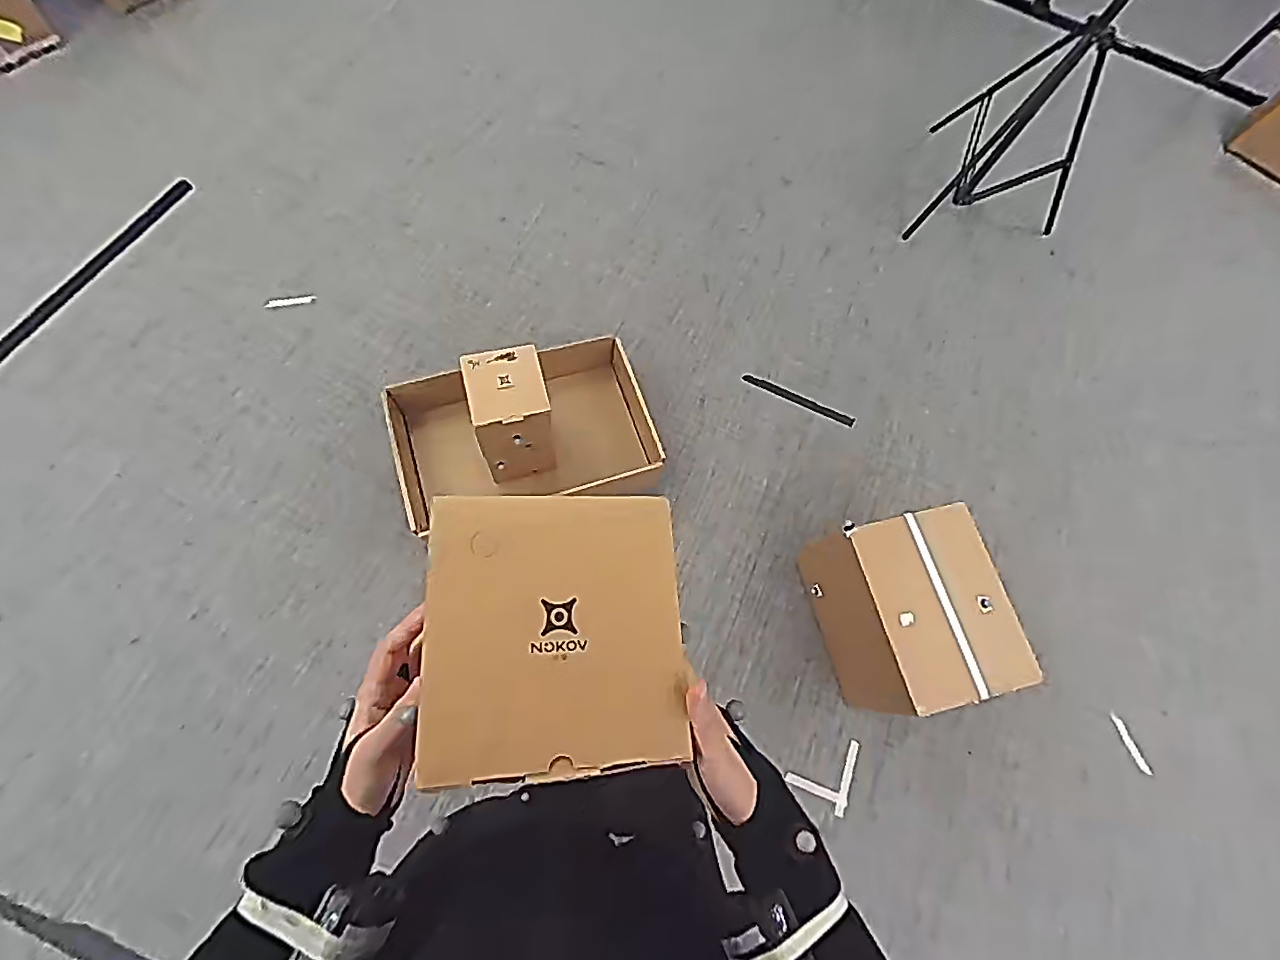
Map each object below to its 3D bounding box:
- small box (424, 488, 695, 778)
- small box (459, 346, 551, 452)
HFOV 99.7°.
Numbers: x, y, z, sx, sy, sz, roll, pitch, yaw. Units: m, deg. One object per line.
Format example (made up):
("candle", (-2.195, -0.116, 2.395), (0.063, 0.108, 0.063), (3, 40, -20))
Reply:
("small box", (-0.068, 0.115, 0.424), (0.168, 0.176, 0.179), (0, 71, -14))
("small box", (-0.300, -0.175, 1.227), (0.168, 0.176, 0.179), (-12, 72, -12))
